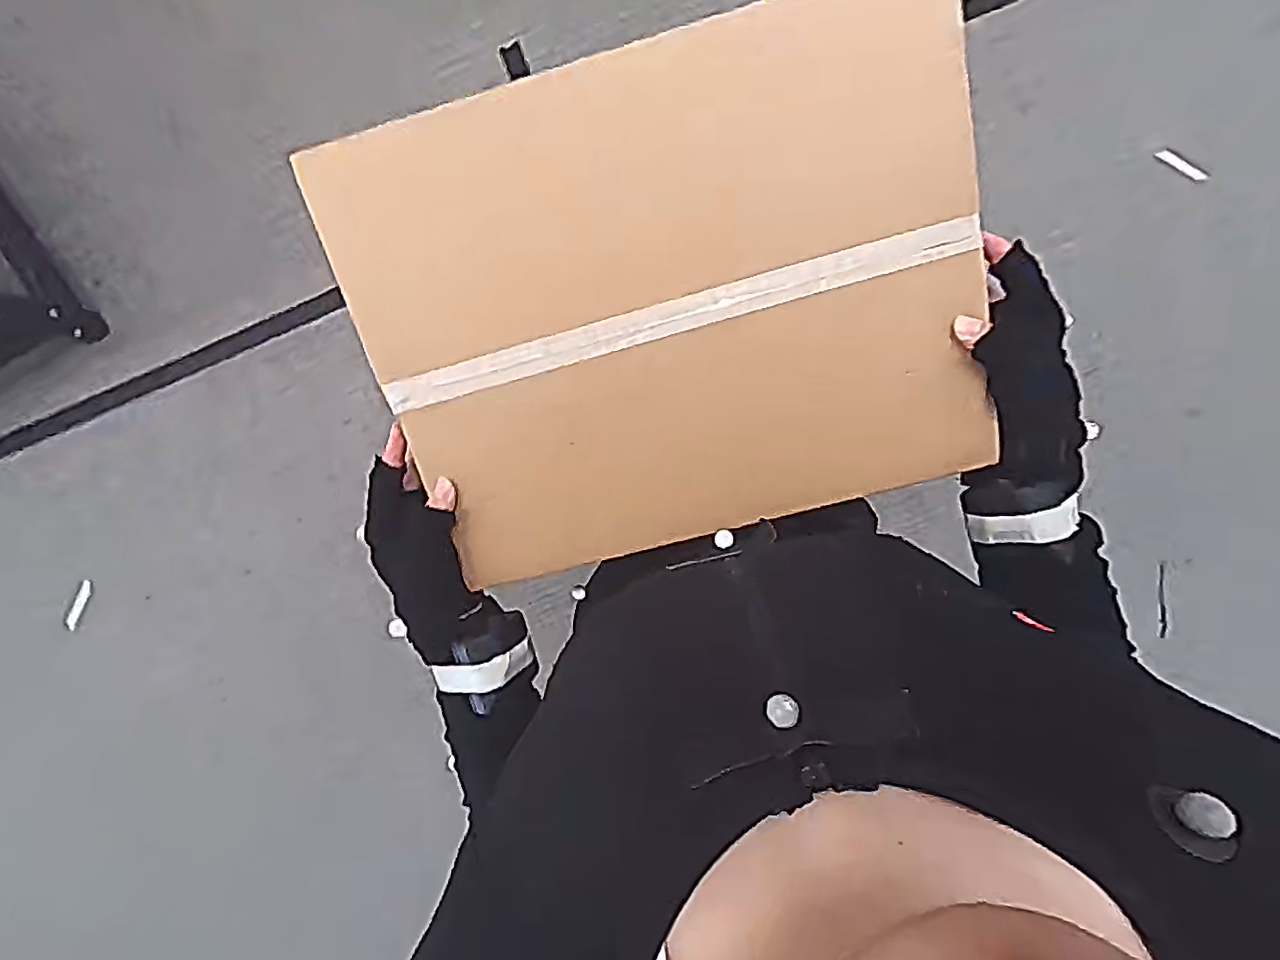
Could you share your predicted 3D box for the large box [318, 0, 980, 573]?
[{"bbox_3d":[0.019,-0.157,0.515,0.408,0.320,0.320,-15,107,5],"label":"large box"}]
